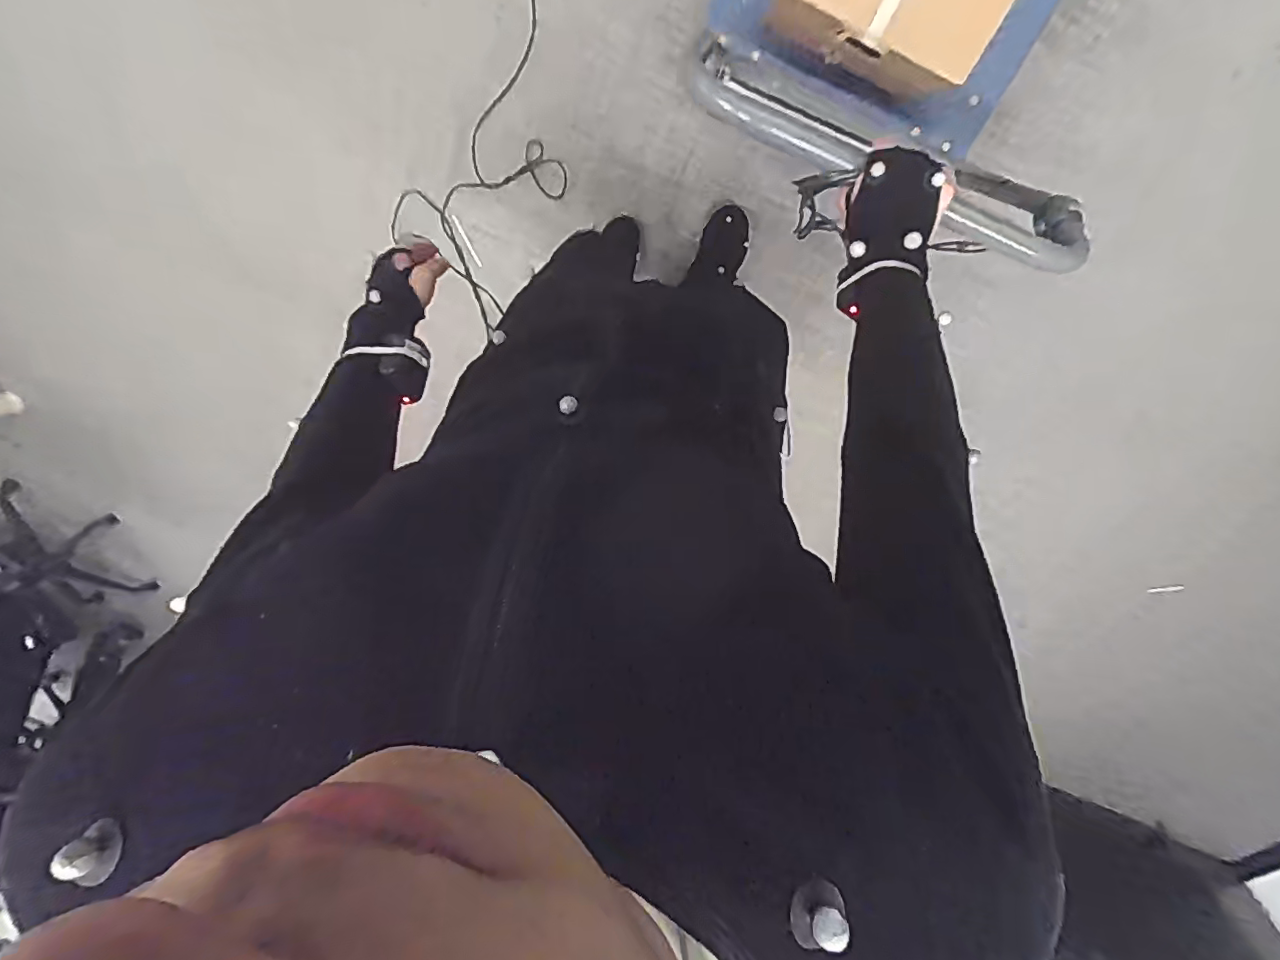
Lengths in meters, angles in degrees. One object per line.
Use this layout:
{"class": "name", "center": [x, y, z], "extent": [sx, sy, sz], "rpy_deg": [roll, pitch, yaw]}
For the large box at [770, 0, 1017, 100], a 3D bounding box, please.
{"class": "large box", "center": [0.428, -0.858, 0.794], "extent": [0.320, 0.320, 0.408], "rpy_deg": [24, 122, -7]}
